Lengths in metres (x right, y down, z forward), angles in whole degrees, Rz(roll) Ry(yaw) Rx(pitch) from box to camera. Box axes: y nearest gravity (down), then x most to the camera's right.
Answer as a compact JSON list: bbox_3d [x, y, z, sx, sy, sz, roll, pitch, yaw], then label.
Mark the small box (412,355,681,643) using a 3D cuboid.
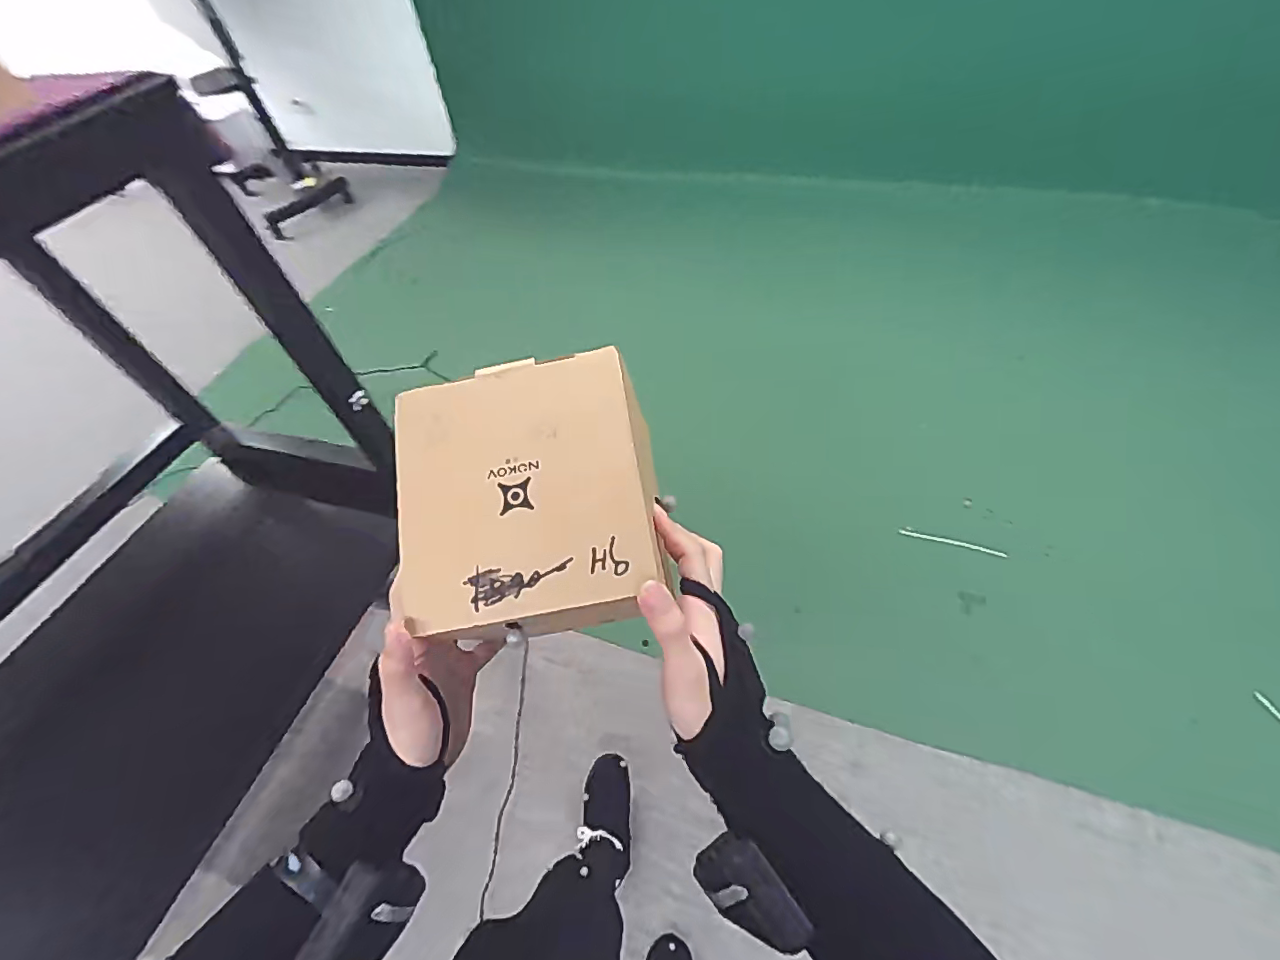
[{"bbox_3d":[-0.064,0.029,0.439,0.168,0.176,0.179,-11,70,5],"label":"small box"}]
